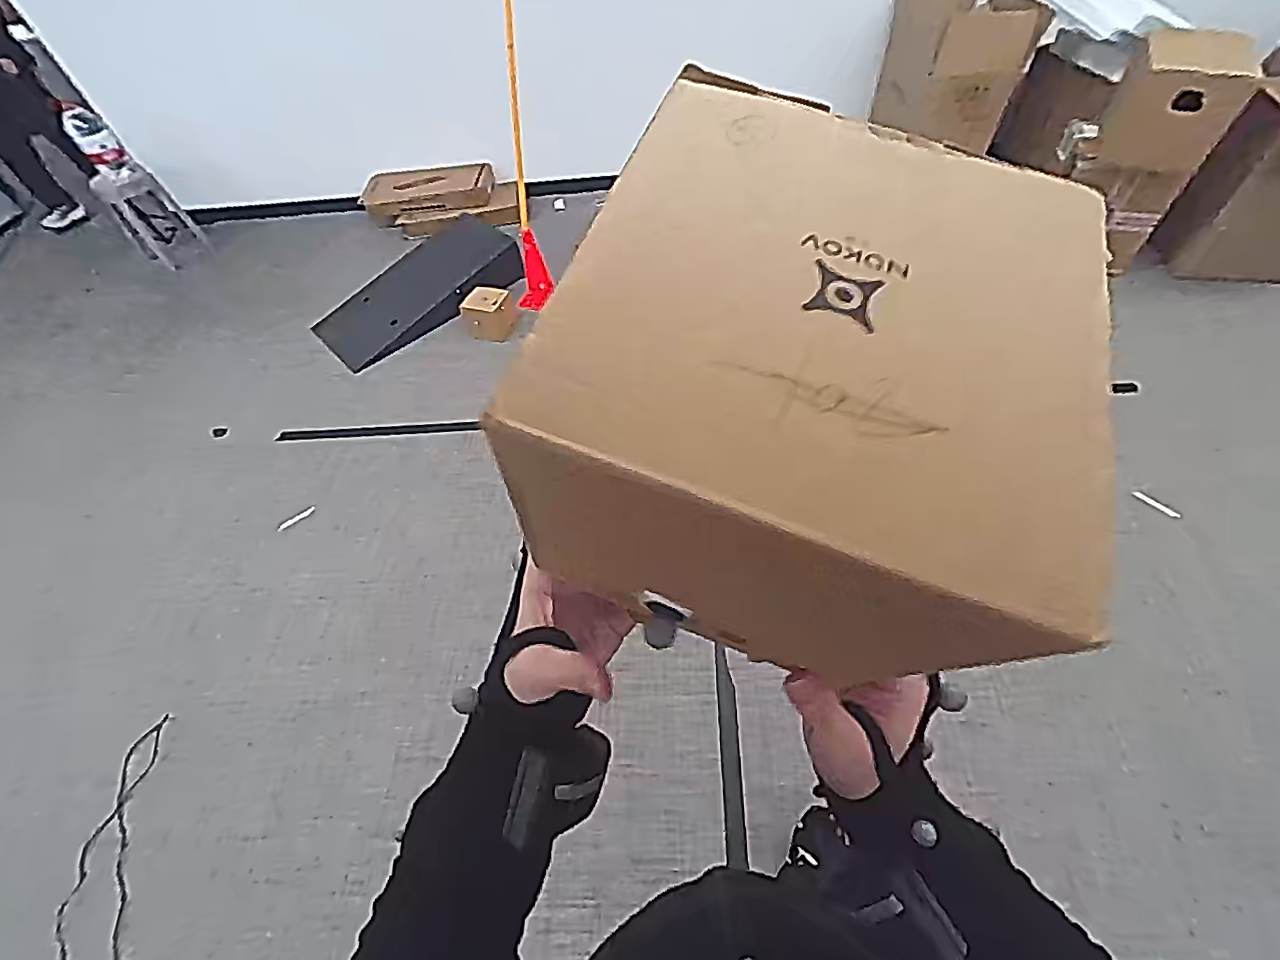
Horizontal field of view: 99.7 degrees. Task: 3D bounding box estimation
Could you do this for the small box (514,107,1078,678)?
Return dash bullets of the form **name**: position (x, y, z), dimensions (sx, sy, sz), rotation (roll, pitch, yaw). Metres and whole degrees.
- **small box**: position (0.058, -0.022, 0.256), dimensions (0.168, 0.176, 0.179), rotation (18, 66, 4)
